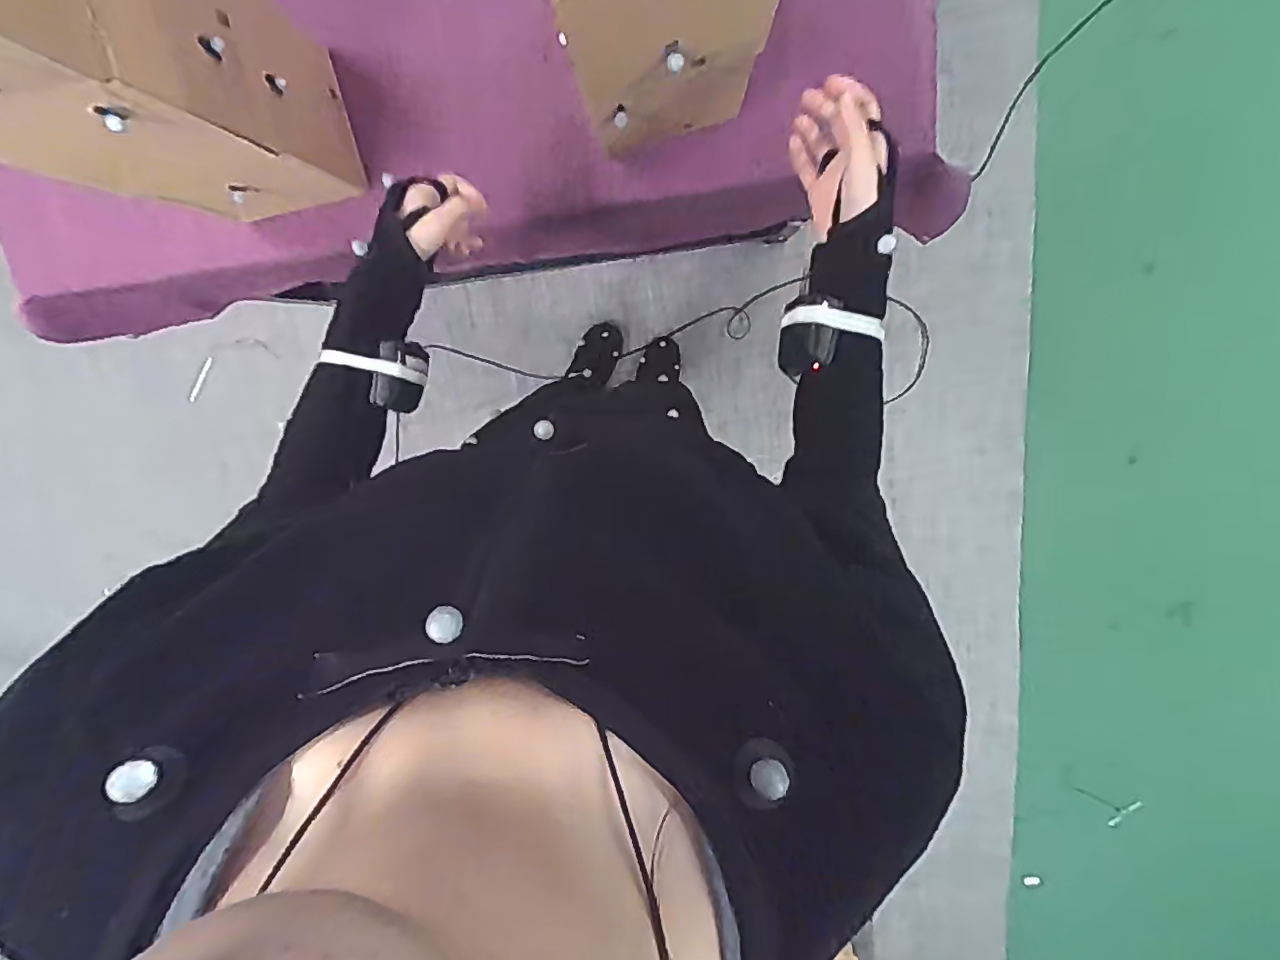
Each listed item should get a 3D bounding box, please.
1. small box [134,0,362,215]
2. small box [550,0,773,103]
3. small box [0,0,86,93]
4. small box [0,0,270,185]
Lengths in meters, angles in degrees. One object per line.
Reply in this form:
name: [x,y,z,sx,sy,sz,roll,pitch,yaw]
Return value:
small box: [-0.447,-0.406,0.590,0.179,0.176,0.168,-9,104,5]
small box: [0.003,-0.424,0.394,0.168,0.176,0.179,-12,103,7]
small box: [-0.459,-0.322,0.276,0.168,0.176,0.179,-8,103,3]
small box: [-0.454,-0.360,0.434,0.179,0.176,0.168,-10,104,4]
